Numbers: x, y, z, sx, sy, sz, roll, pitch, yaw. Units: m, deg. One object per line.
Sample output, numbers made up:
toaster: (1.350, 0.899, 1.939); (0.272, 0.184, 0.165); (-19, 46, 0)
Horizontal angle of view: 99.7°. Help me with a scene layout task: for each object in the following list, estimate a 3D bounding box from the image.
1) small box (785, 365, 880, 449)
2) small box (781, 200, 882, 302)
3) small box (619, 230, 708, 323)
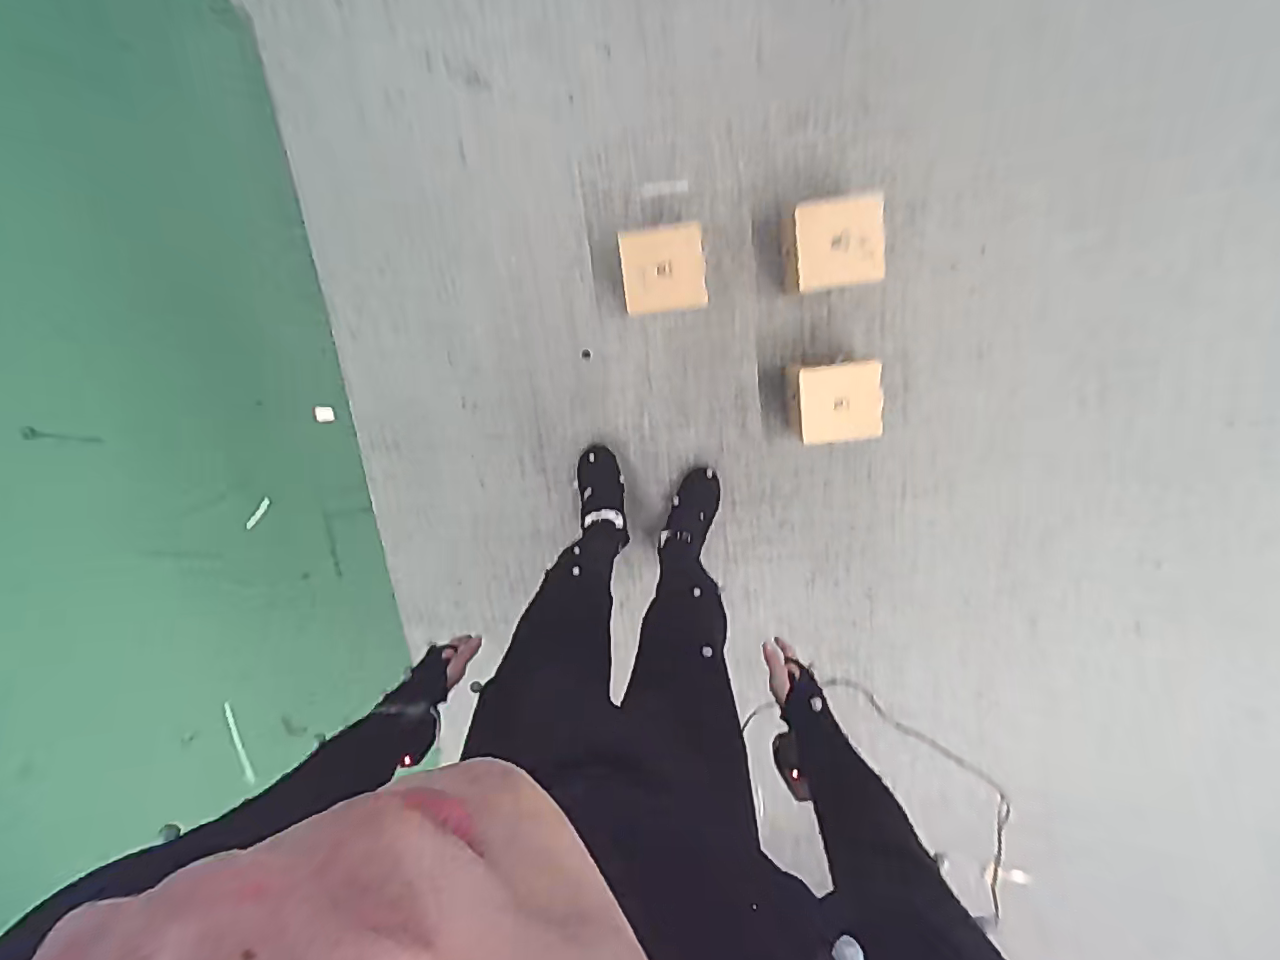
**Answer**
small box: (0.439, -0.174, 1.256); (0.179, 0.176, 0.168); (-7, 103, 5)
small box: (0.407, -0.487, 1.174); (0.179, 0.176, 0.168); (-6, 104, 5)
small box: (0.053, -0.448, 1.210); (0.179, 0.176, 0.168); (-5, 103, 6)
